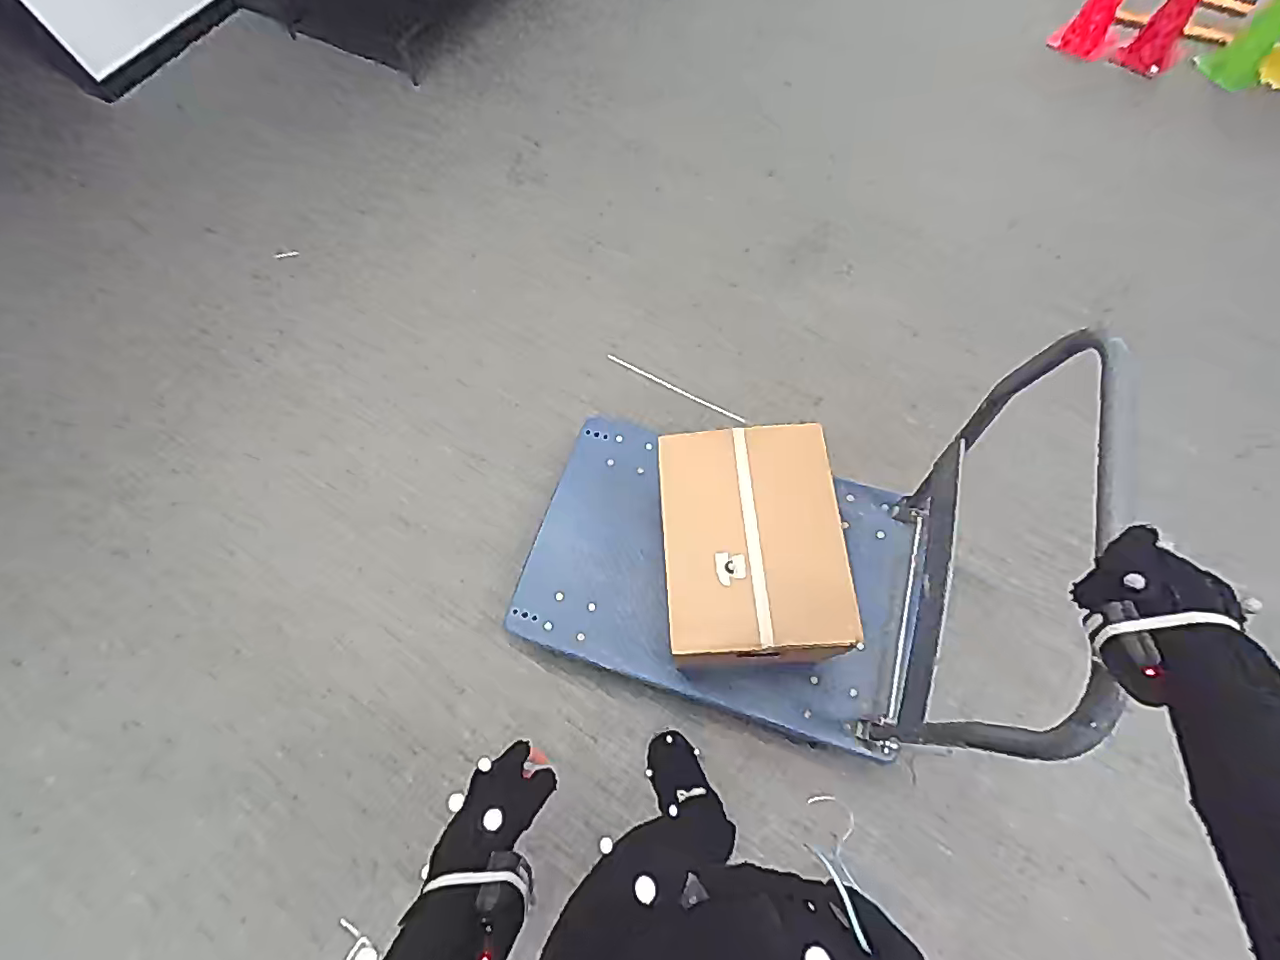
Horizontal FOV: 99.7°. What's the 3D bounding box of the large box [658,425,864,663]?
[{"bbox_3d":[0.210,0.144,1.094,0.320,0.320,0.408,-5,68,3],"label":"large box"}]
